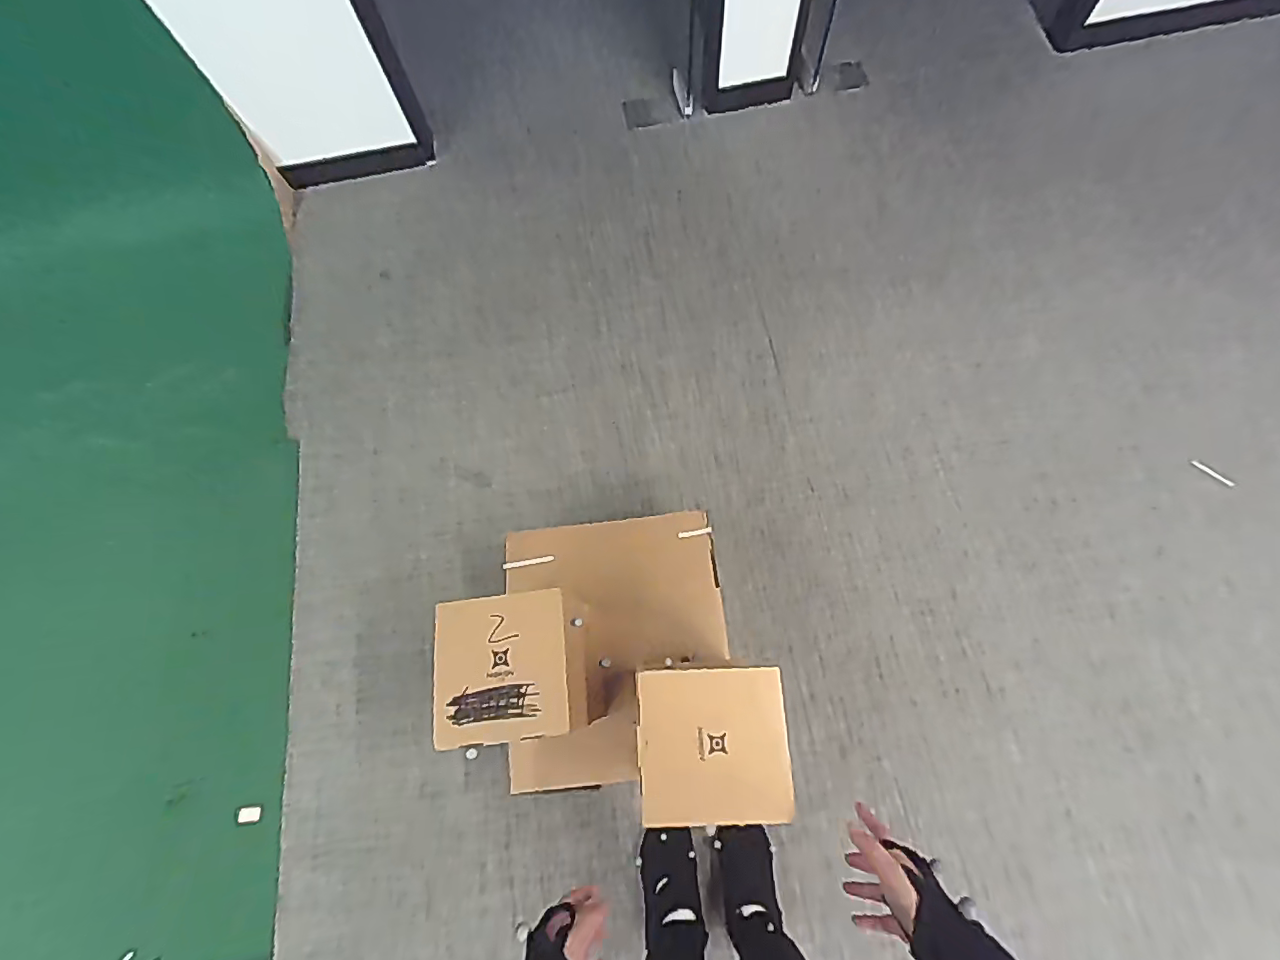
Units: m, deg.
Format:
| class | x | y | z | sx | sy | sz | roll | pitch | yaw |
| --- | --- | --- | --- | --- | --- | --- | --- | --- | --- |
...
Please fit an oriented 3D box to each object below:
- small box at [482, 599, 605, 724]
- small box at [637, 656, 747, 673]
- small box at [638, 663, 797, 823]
| class | x | y | z | sx | sy | sz | roll | pitch | yaw |
| --- | --- | --- | --- | --- | --- | --- | --- | --- | --- |
| small box | -0.150 | 0.303 | 0.894 | 0.168 | 0.176 | 0.179 | -5 | 69 | 3 |
| small box | 0.084 | 0.375 | 0.854 | 0.168 | 0.176 | 0.179 | -3 | 69 | 1 |
| small box | 0.088 | 0.326 | 0.698 | 0.179 | 0.176 | 0.168 | -3 | 70 | 1 |
